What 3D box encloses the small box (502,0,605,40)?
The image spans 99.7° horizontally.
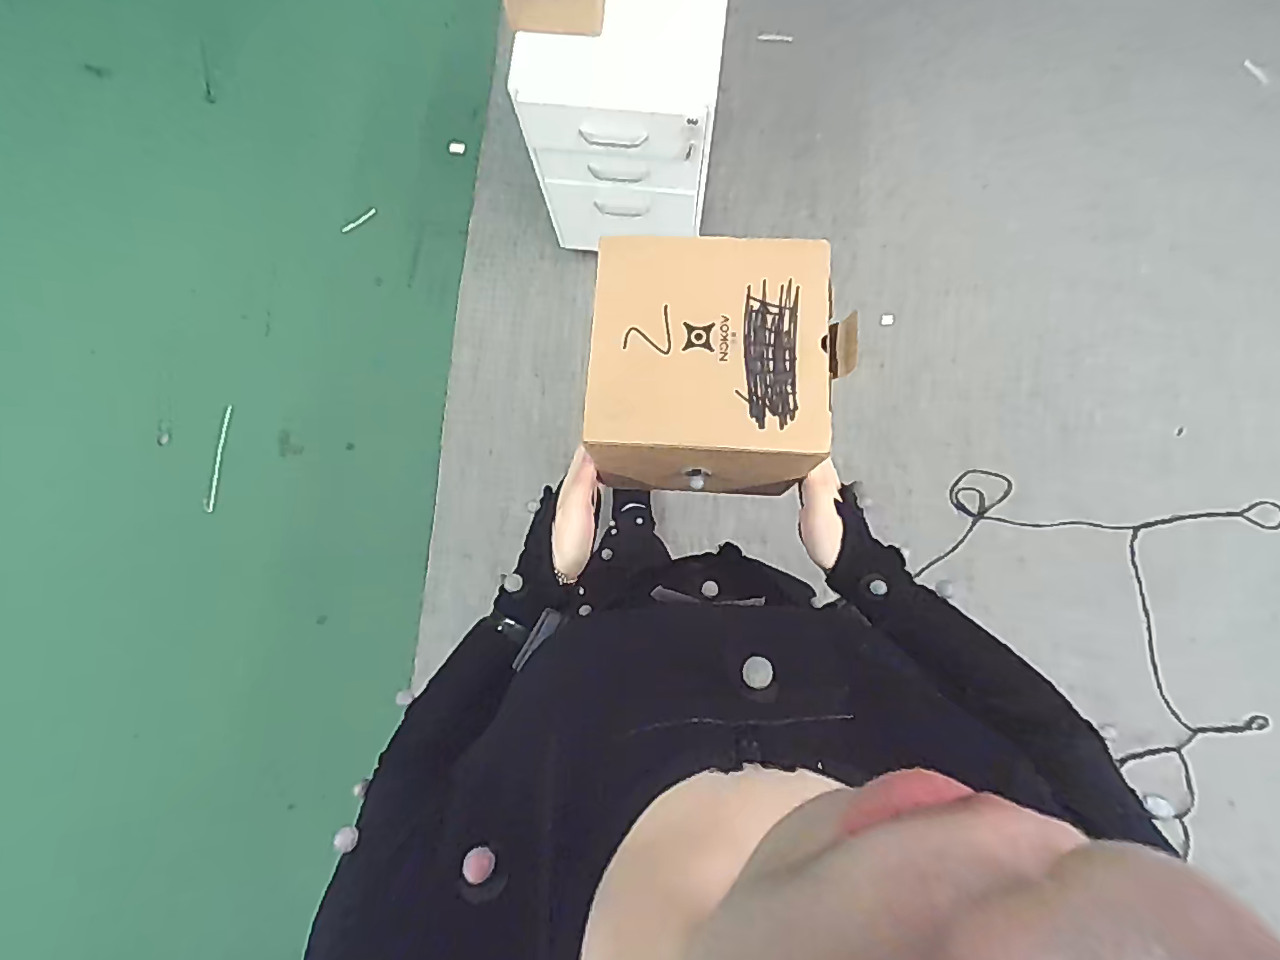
[{"bbox_3d":[-0.157,-0.927,0.958,0.179,0.176,0.168,5,84,2],"label":"small box"}]
